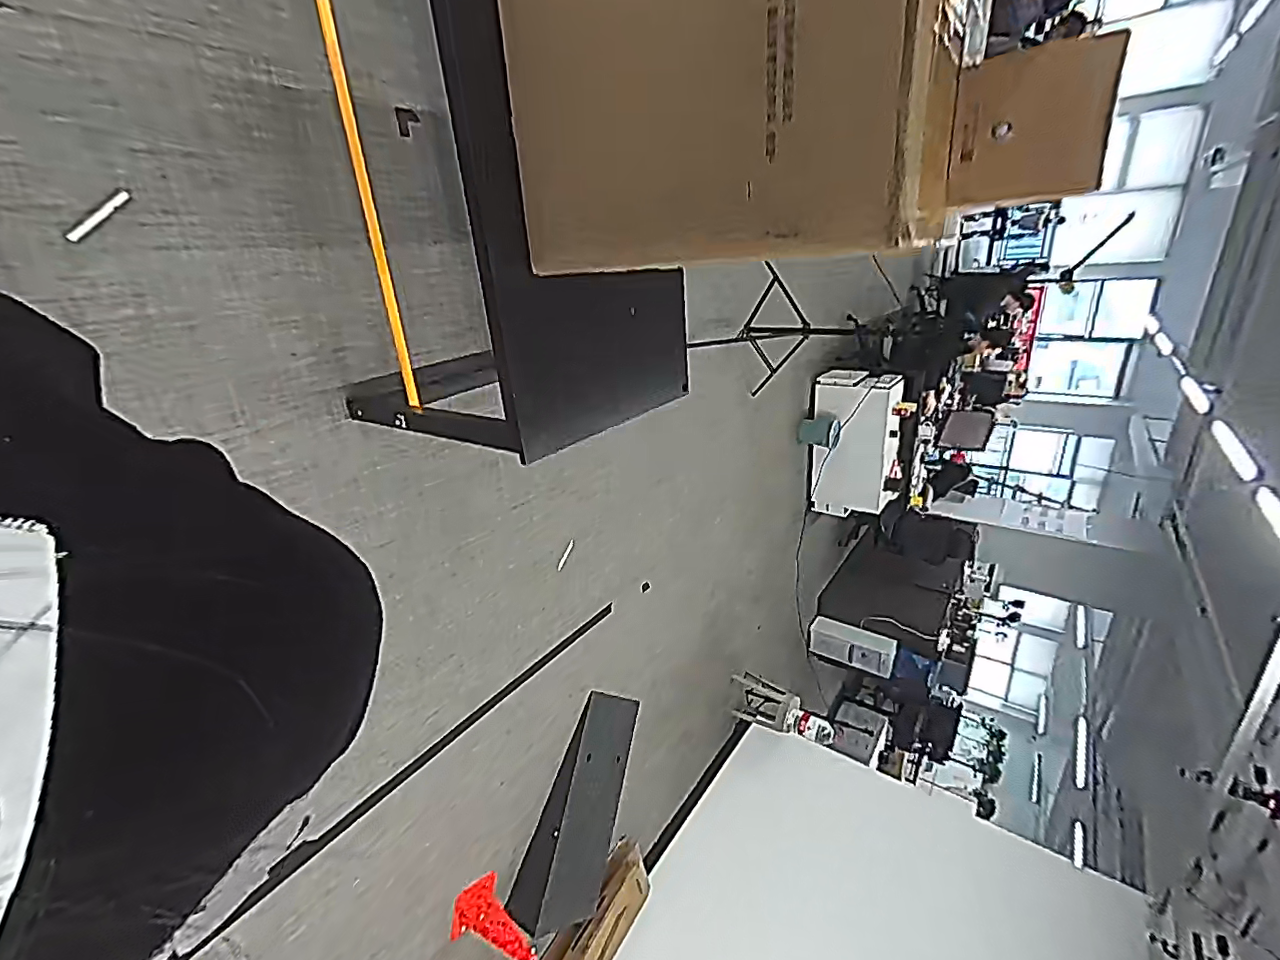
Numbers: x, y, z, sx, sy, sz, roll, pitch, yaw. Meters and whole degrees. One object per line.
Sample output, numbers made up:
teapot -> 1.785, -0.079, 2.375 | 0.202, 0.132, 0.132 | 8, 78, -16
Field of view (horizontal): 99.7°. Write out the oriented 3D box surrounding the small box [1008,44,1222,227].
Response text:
small box -> 0.601, -0.433, 0.710 | 0.179, 0.176, 0.168 | -33, 125, -48
